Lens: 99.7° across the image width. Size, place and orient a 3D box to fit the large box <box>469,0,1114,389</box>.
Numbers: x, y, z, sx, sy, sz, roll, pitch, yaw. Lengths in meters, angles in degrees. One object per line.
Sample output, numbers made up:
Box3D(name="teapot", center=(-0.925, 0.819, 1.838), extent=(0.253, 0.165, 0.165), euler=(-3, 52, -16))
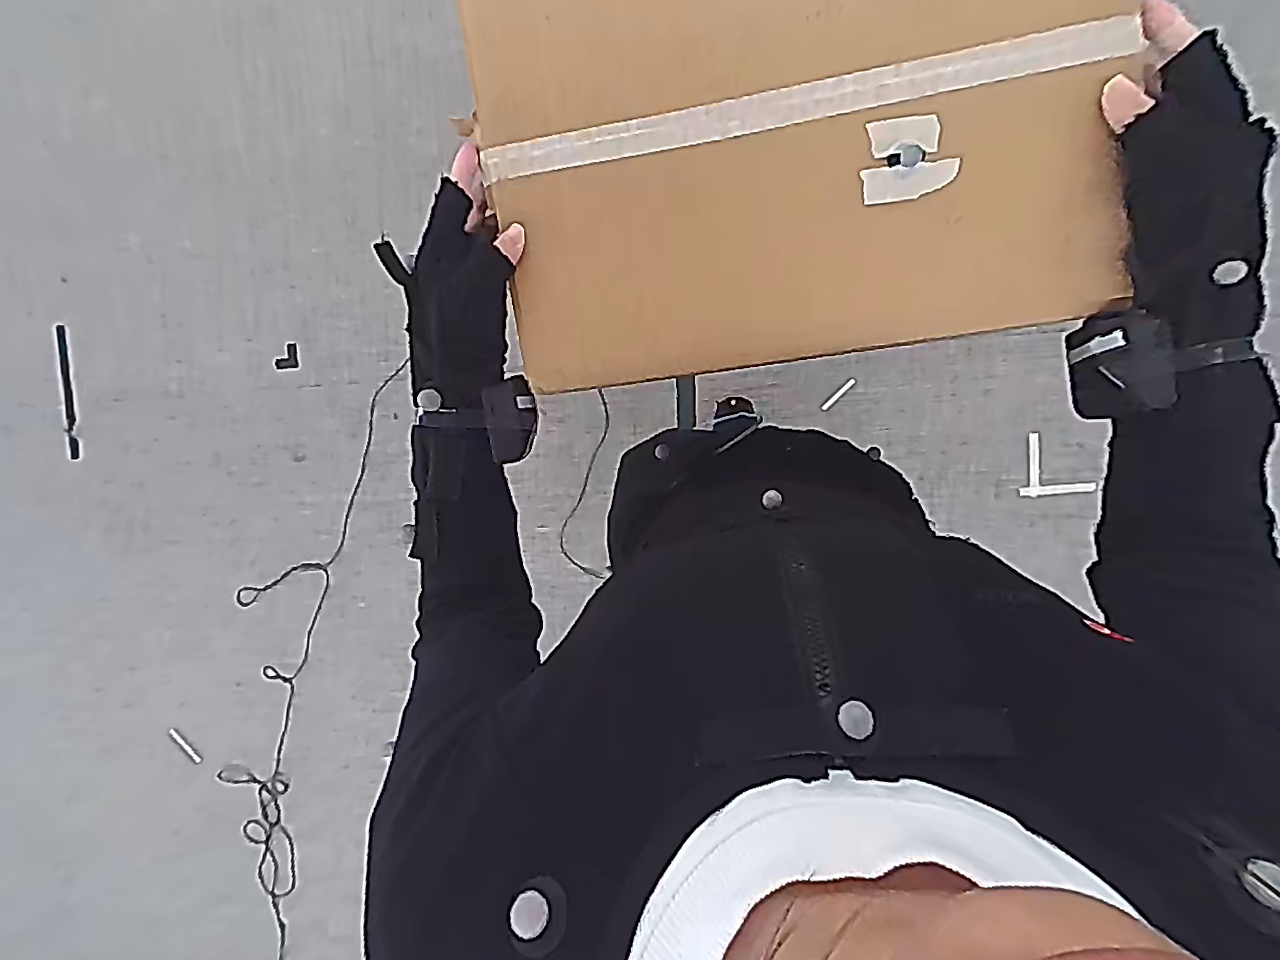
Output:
Box3D(name="large box", center=(0.108, -0.274, 0.504), extent=(0.408, 0.320, 0.320), euler=(-8, 102, 6))
